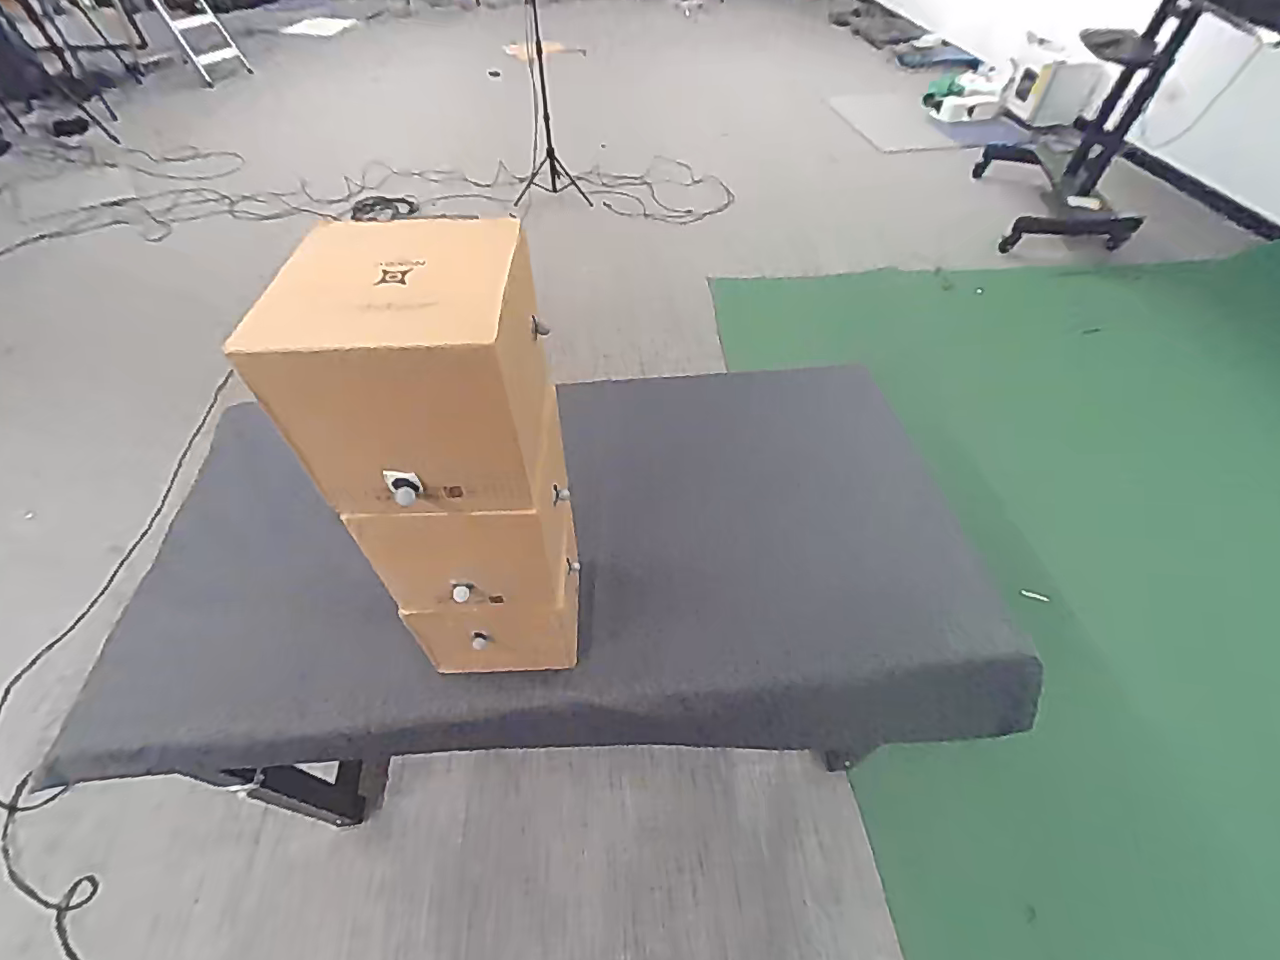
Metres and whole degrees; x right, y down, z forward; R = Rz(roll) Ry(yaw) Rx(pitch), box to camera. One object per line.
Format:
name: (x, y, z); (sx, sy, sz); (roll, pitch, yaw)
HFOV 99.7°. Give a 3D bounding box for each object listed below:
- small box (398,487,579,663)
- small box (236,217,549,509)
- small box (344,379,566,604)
small box: (-0.175, 0.123, 0.688); (0.179, 0.176, 0.168); (-1, 50, -2)
small box: (-0.170, -0.095, 0.446); (0.168, 0.176, 0.179); (-2, 51, -2)
small box: (-0.170, 0.011, 0.567); (0.168, 0.176, 0.179); (0, 50, -1)
